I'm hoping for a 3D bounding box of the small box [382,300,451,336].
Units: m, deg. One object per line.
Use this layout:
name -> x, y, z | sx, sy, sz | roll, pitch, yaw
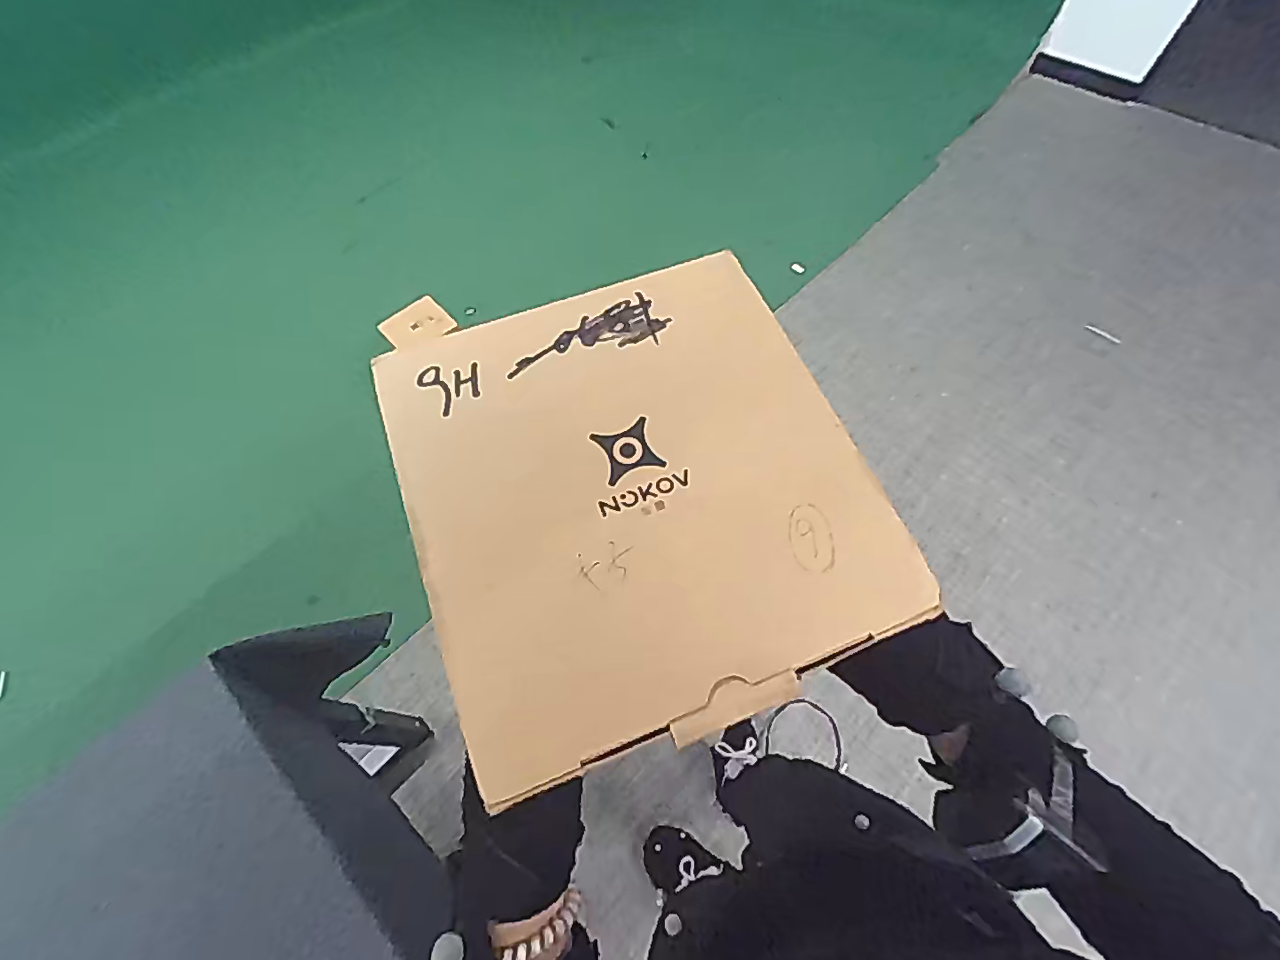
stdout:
small box -> -0.615, -0.390, 1.601 | 0.179, 0.176, 0.168 | -39, 67, -17
